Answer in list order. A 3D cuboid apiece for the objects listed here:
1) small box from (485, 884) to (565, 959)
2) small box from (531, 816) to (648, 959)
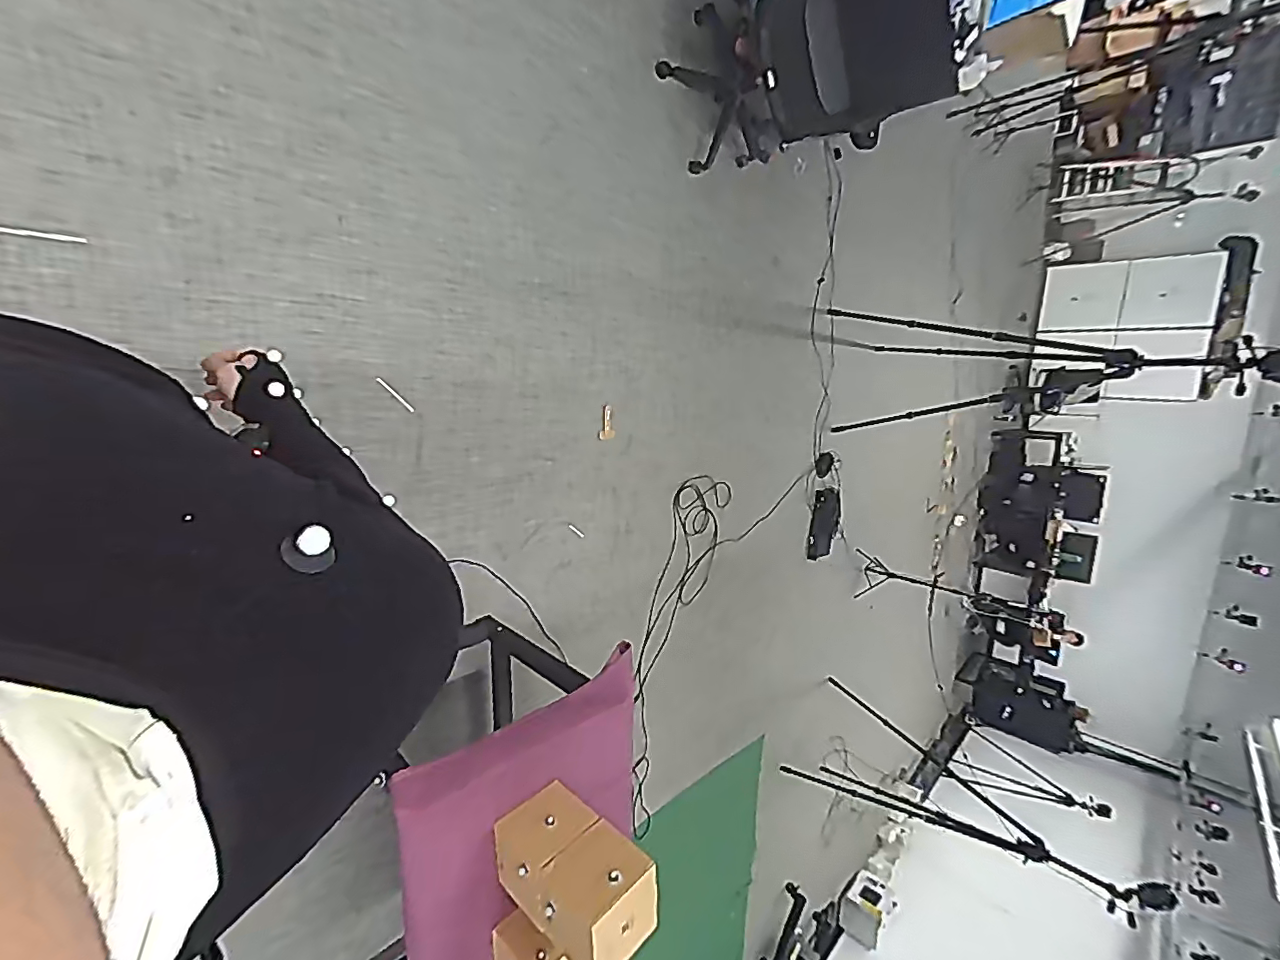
[{"bbox_3d":[-0.243,1.096,1.272,0.179,0.176,0.168,-12,108,-44],"label":"small box"},{"bbox_3d":[-0.103,0.847,1.116,0.179,0.176,0.168,-14,108,-45],"label":"small box"}]
